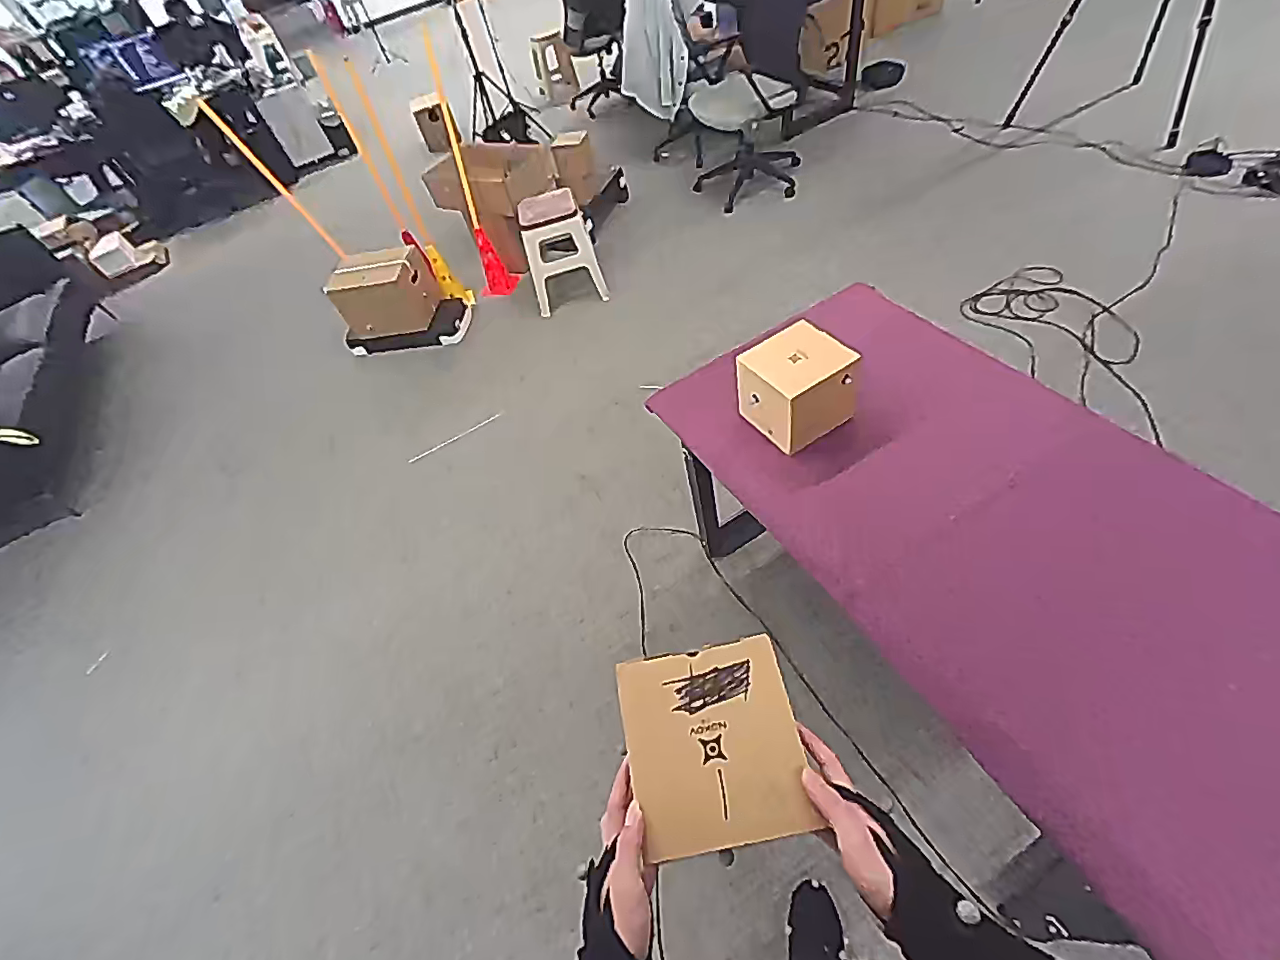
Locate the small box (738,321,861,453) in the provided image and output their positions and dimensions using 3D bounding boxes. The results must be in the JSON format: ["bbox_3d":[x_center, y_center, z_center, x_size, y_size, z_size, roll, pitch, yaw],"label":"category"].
[{"bbox_3d":[0.324,-0.187,1.110,0.179,0.176,0.168,-31,52,-11],"label":"small box"}]

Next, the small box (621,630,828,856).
[{"bbox_3d":[0.079,0.284,0.580,0.168,0.176,0.179,-11,57,0],"label":"small box"}]
